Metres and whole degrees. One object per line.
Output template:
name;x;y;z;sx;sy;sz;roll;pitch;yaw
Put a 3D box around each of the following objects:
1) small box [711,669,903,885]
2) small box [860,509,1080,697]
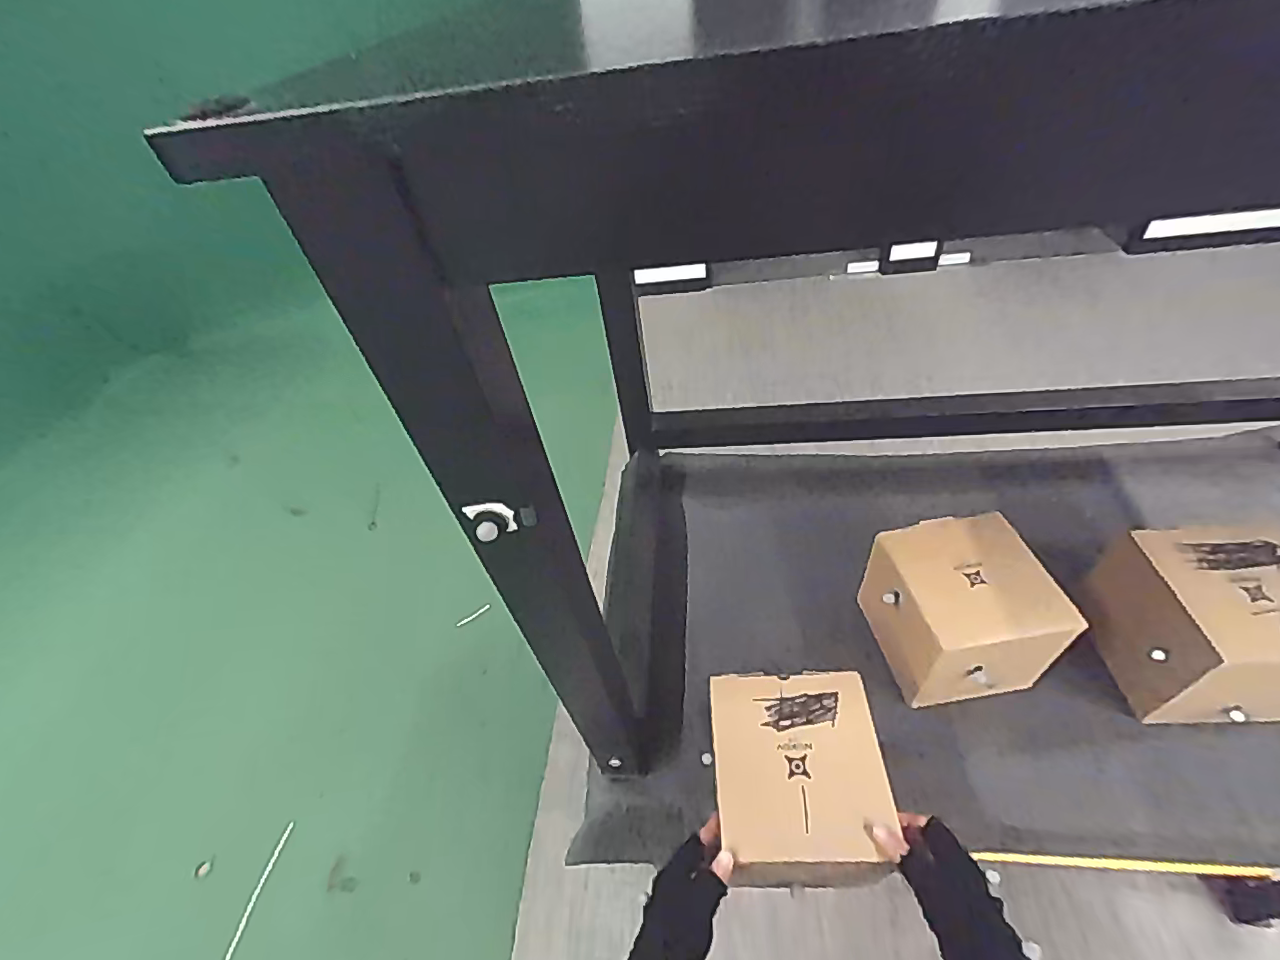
small box;0.165;0.330;0.602;0.168;0.176;0.179;-4;47;6
small box;0.413;0.169;0.716;0.168;0.176;0.179;-10;45;1
